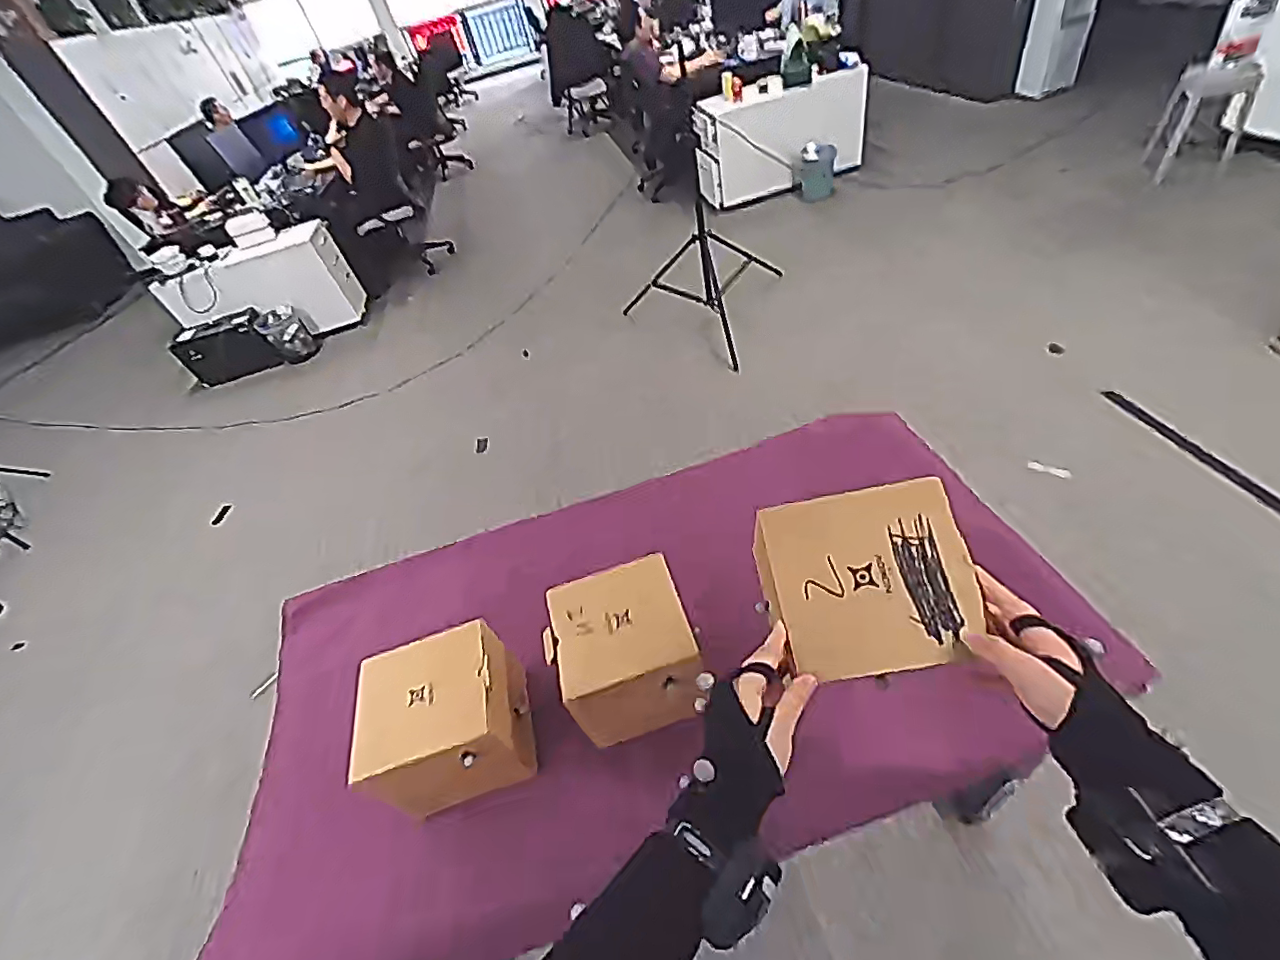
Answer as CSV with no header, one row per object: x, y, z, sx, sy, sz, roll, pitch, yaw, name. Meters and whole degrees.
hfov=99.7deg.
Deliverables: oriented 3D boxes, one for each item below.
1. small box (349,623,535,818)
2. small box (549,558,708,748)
-0.262,0.334,0.745,0.179,0.176,0.168,-19,44,-4,small box
-0.011,0.244,0.758,0.179,0.176,0.168,-19,43,-2,small box
